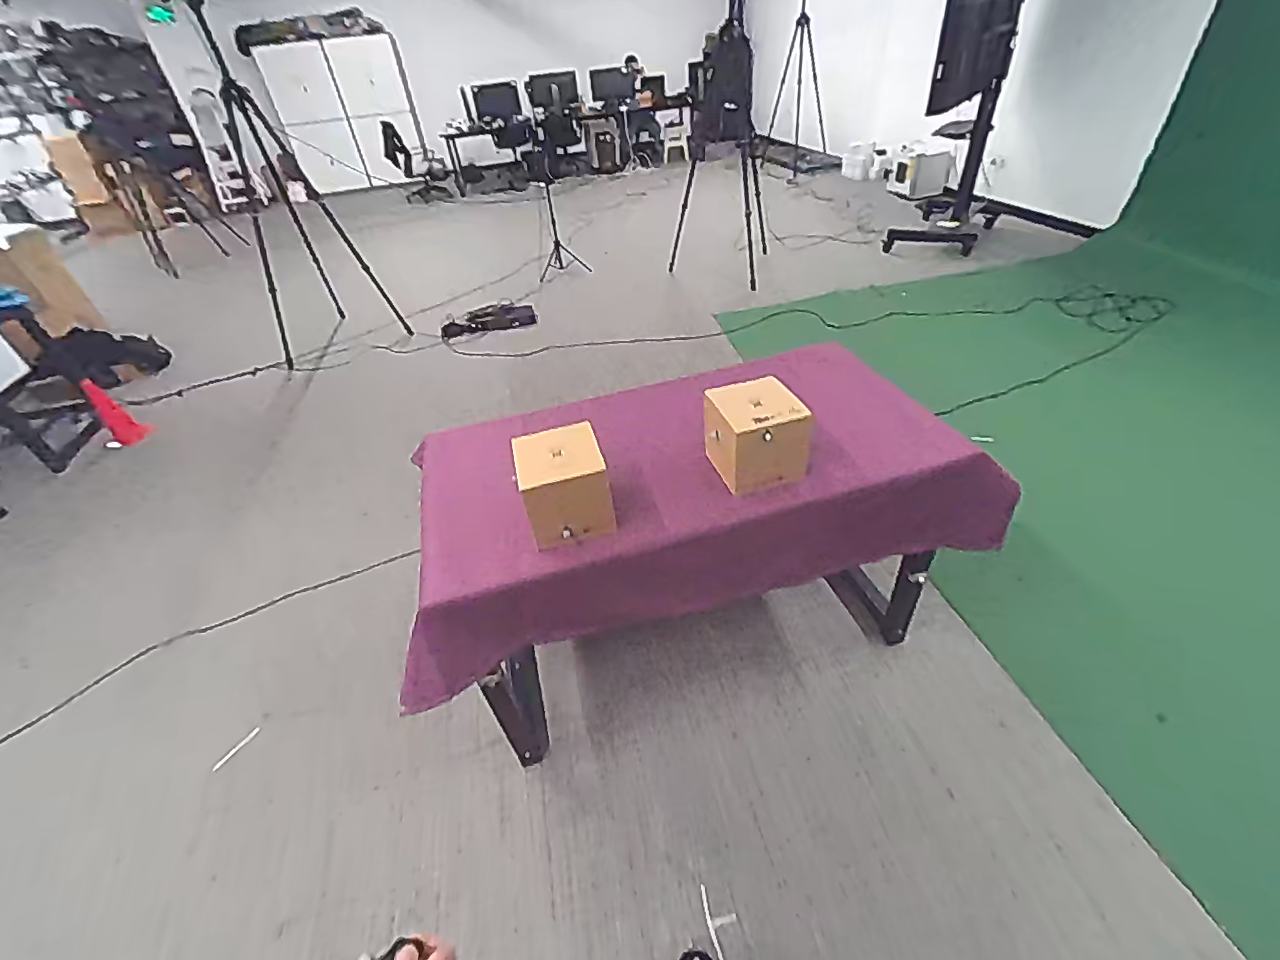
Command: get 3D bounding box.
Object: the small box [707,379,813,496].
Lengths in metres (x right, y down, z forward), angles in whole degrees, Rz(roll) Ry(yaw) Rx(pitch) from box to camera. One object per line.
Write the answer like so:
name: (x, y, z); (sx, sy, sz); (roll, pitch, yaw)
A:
small box: (0.251, -0.092, 1.166); (0.168, 0.176, 0.179); (-15, 39, -8)

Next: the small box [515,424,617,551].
small box: (-0.150, 0.015, 1.099); (0.168, 0.176, 0.179); (-14, 40, -7)
